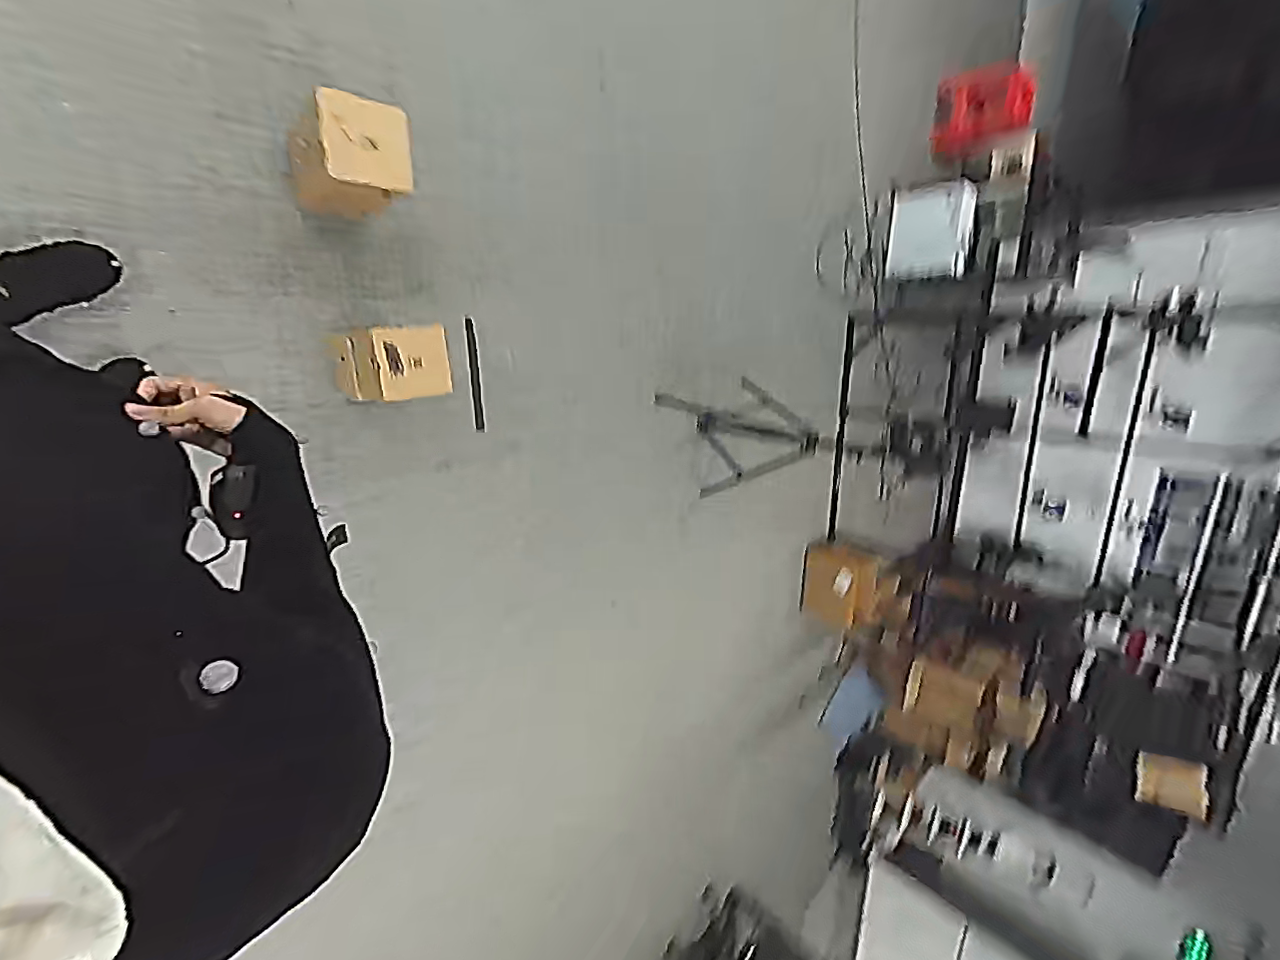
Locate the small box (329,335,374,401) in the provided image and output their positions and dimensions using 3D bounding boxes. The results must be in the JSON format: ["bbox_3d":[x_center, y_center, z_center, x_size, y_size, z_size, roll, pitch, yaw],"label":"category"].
[{"bbox_3d":[-0.712,-0.306,1.448,0.179,0.176,0.168,-18,112,-41],"label":"small box"}]

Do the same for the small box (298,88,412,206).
[{"bbox_3d":[-0.627,-0.719,1.191,0.179,0.176,0.168,-11,107,-41],"label":"small box"}]

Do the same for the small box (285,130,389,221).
[{"bbox_3d":[-0.735,-0.741,1.313,0.179,0.176,0.168,-11,107,-42],"label":"small box"}]

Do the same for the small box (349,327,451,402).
[{"bbox_3d":[-0.595,-0.288,1.333,0.179,0.176,0.168,-18,112,-42],"label":"small box"}]
